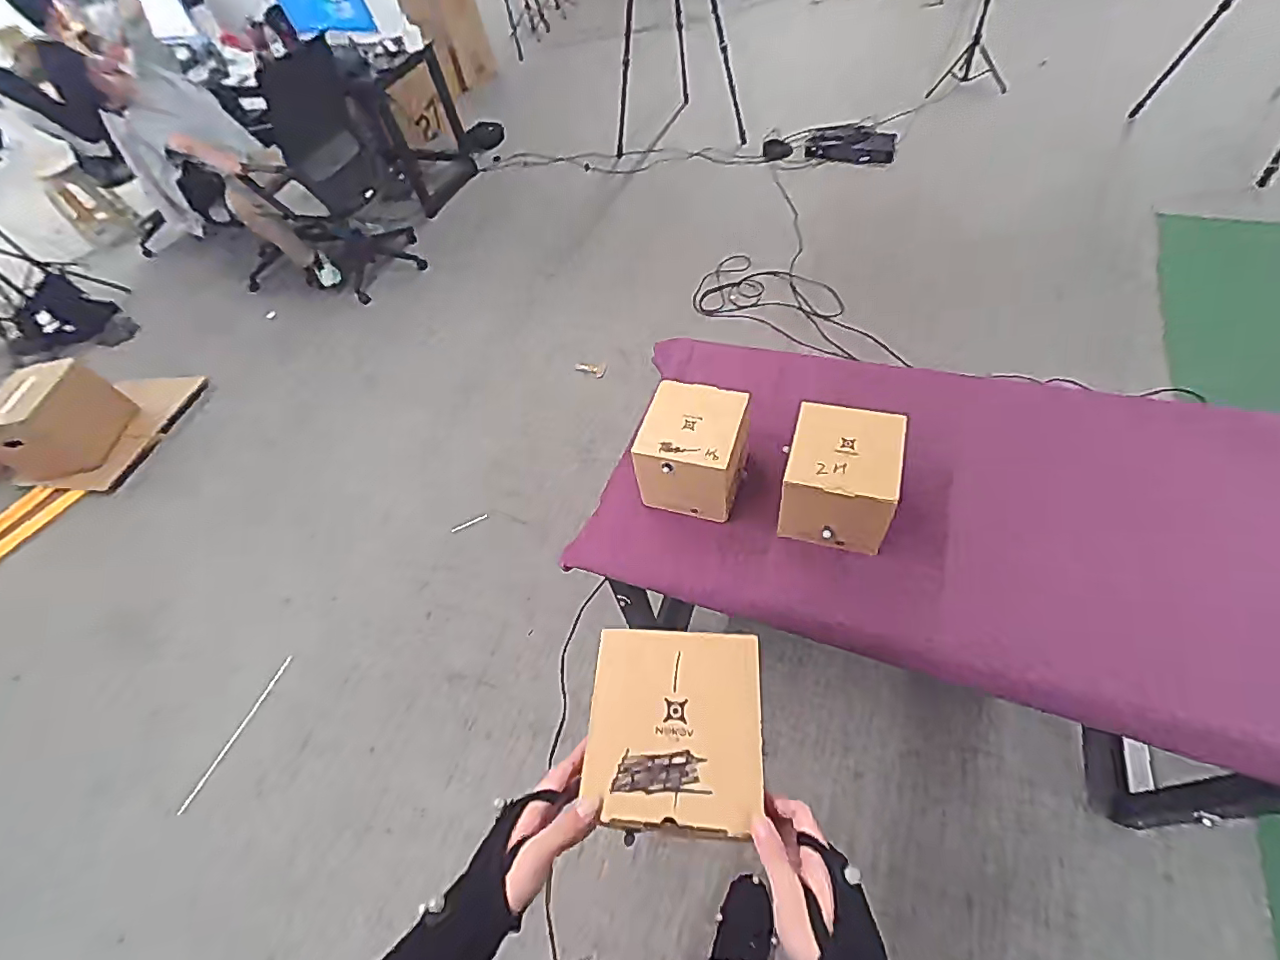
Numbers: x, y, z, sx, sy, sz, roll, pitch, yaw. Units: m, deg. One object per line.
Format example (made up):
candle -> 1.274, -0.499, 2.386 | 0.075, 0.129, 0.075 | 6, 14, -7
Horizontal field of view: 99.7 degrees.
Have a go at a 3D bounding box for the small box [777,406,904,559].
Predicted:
small box -> 0.331, 0.006, 0.911 | 0.168, 0.176, 0.179 | 11, 57, 18

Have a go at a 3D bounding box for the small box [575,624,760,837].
small box -> 0.039, 0.269, 0.576 | 0.168, 0.176, 0.179 | 0, 54, 8

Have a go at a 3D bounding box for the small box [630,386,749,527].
small box -> 0.096, -0.043, 0.985 | 0.168, 0.176, 0.179 | 11, 56, 19
